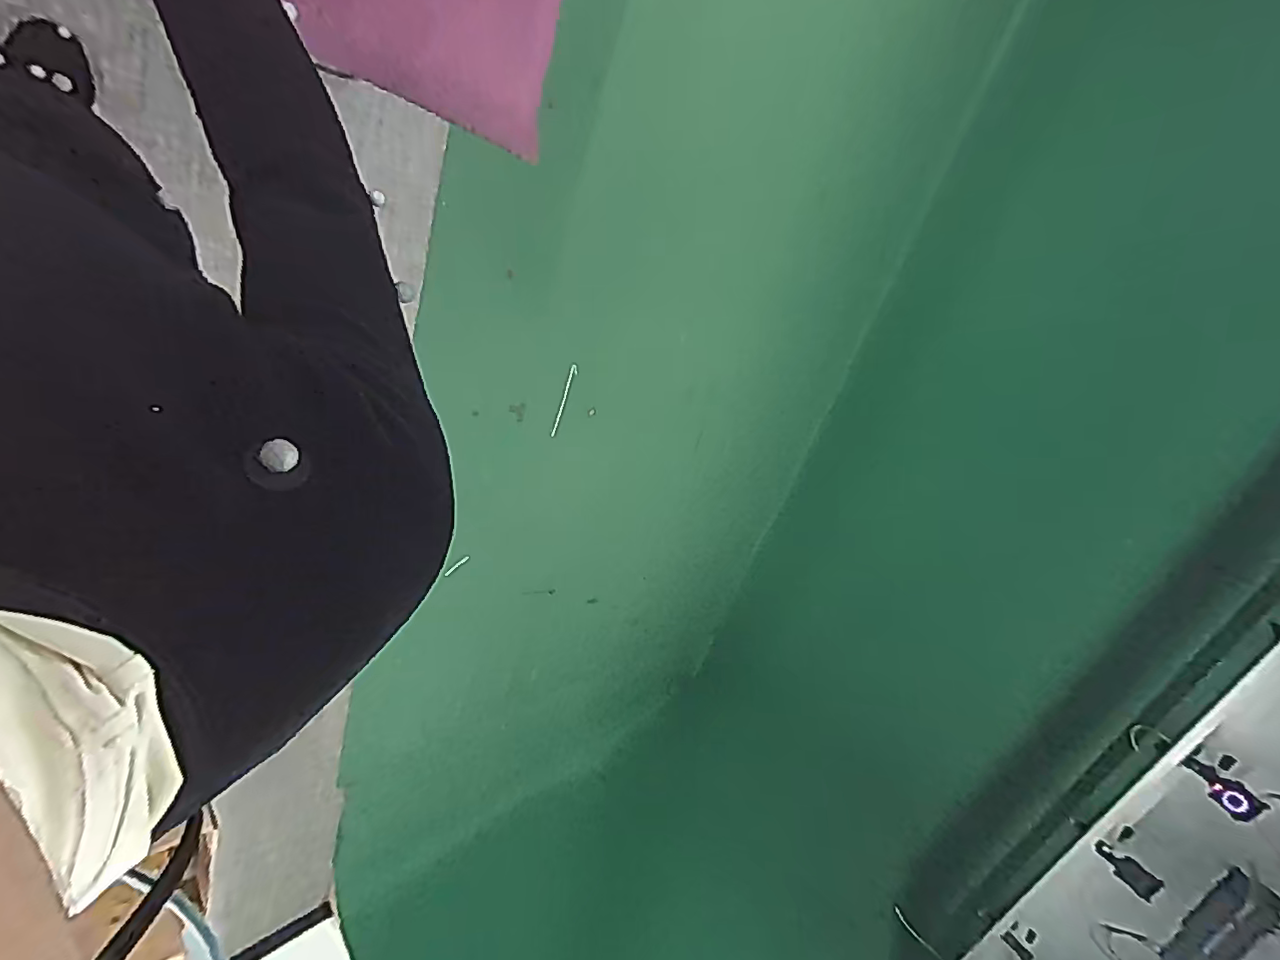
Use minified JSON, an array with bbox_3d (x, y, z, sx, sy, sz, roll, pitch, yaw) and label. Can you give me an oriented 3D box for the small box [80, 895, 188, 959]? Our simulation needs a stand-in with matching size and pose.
[{"bbox_3d":[-1.174,1.127,1.254,0.168,0.176,0.179,-5,122,-48],"label":"small box"}]
